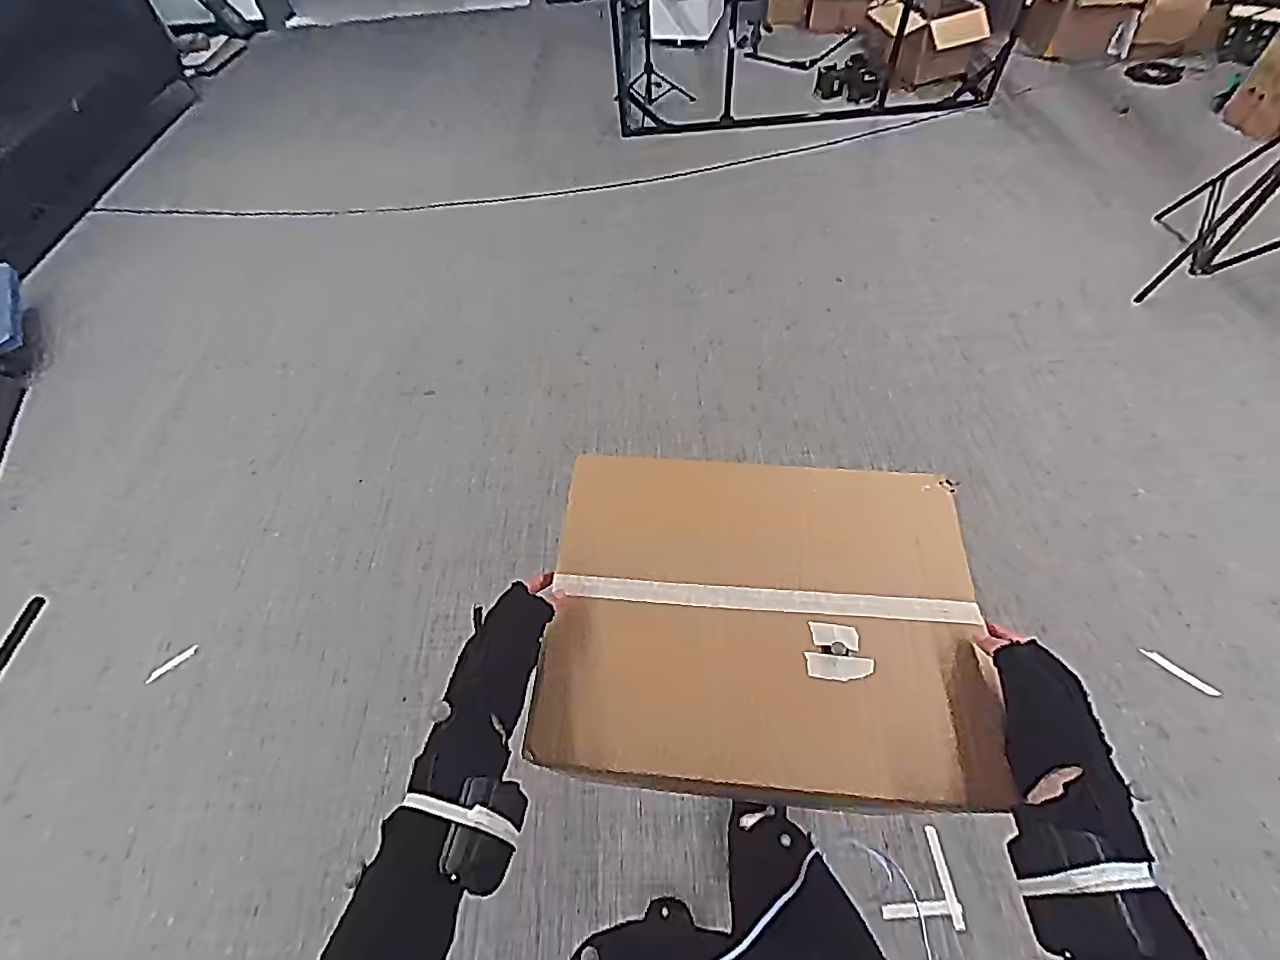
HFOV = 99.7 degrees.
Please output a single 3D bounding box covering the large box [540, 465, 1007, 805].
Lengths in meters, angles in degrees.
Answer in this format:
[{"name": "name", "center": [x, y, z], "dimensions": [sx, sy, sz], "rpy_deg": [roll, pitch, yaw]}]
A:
[{"name": "large box", "center": [0.124, 0.200, 0.663], "dimensions": [0.408, 0.320, 0.320], "rpy_deg": [3, 59, 5]}]
